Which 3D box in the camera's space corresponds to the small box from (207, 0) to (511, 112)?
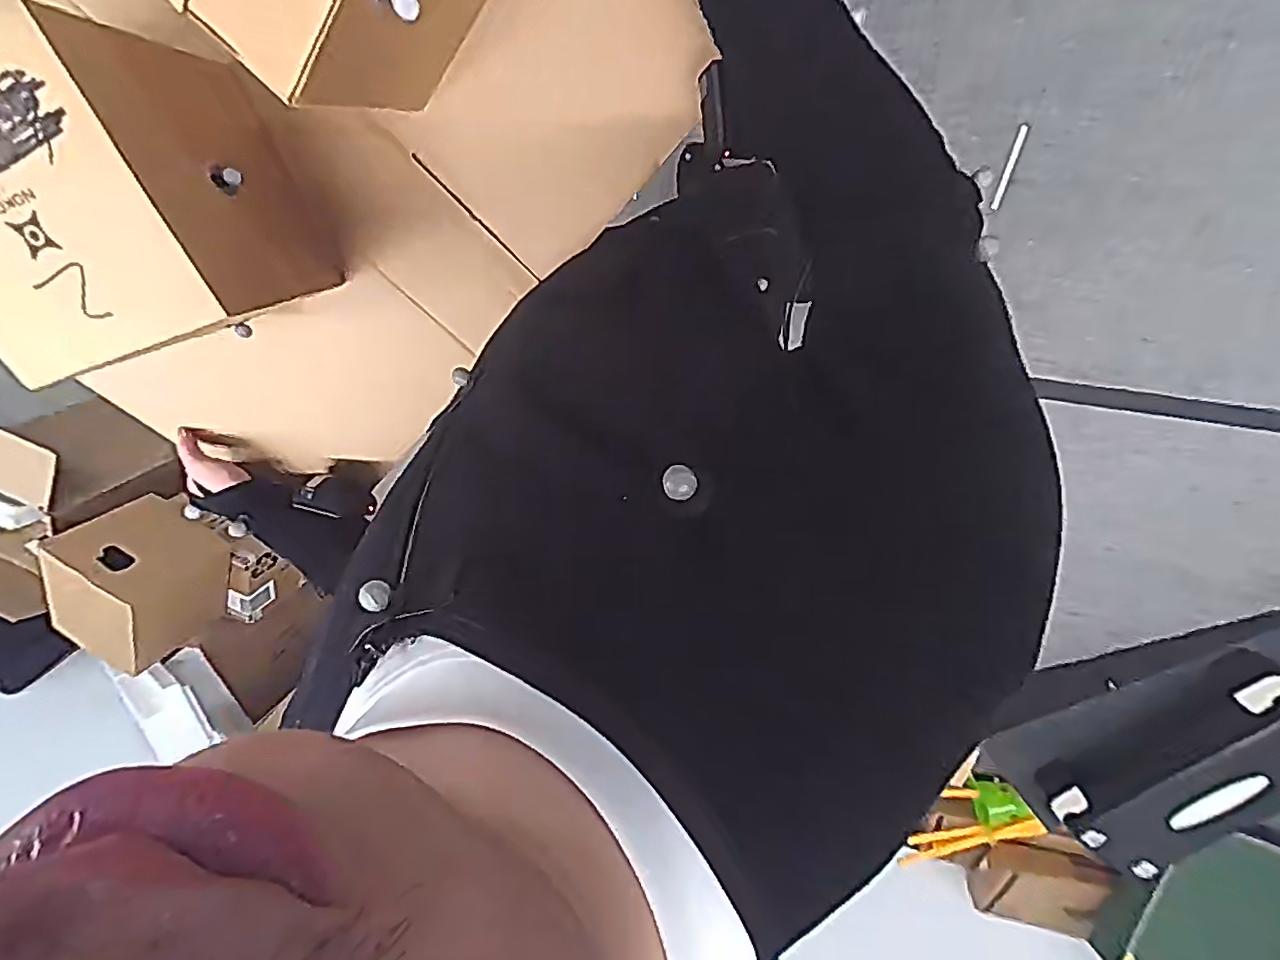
[{"bbox_3d":[-0.175,-0.360,0.321,0.179,0.176,0.168,-37,112,27],"label":"small box"}]
